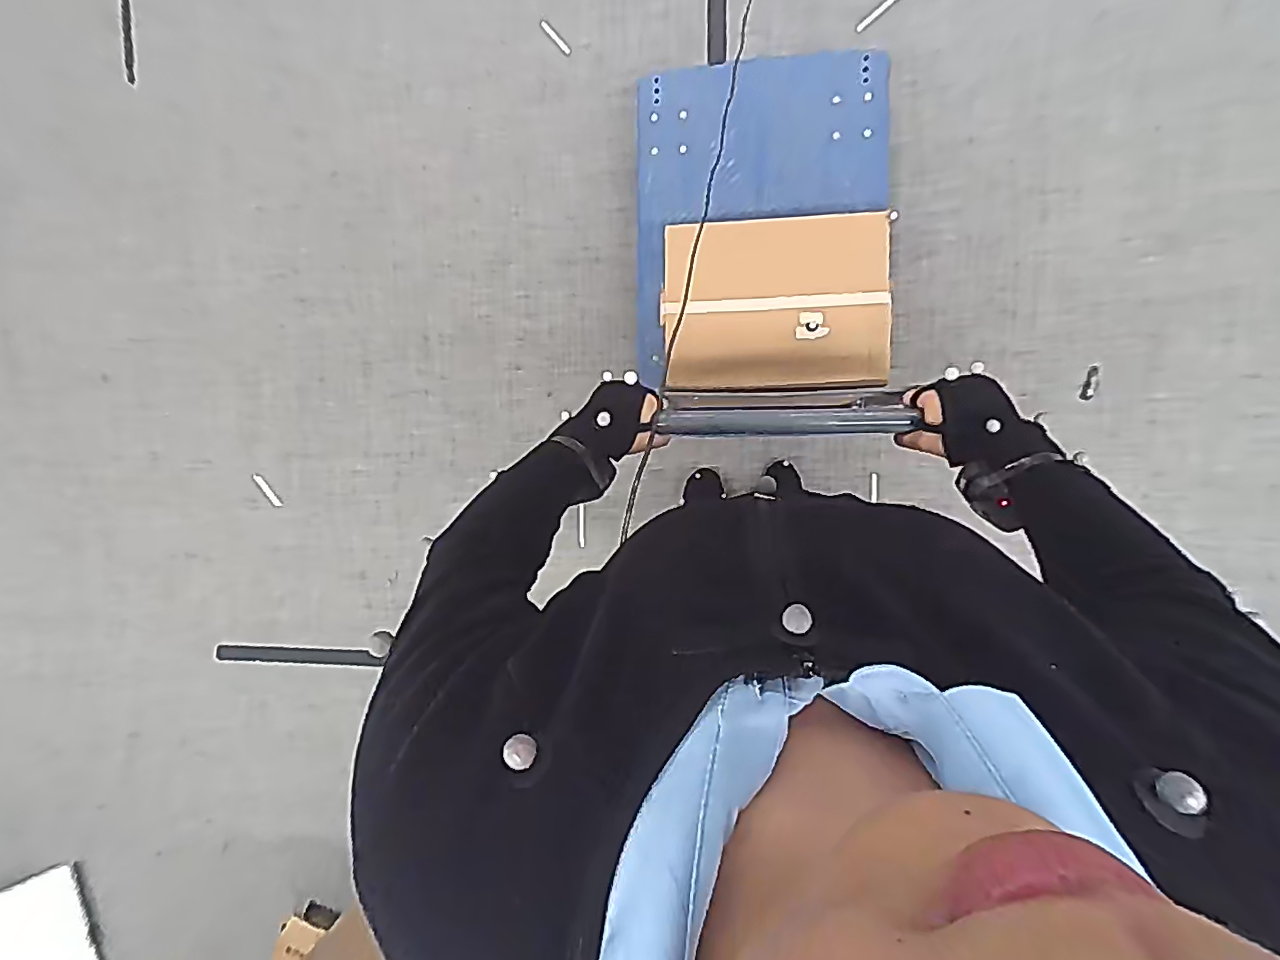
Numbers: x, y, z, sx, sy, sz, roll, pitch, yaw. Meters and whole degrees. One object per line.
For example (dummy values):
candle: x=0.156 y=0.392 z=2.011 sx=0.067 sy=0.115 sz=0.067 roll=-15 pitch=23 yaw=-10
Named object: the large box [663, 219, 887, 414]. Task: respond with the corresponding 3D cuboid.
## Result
large box: x=0.262 y=-0.314 z=1.139 sx=0.408 sy=0.320 sz=0.320 roll=0 pitch=92 yaw=7
